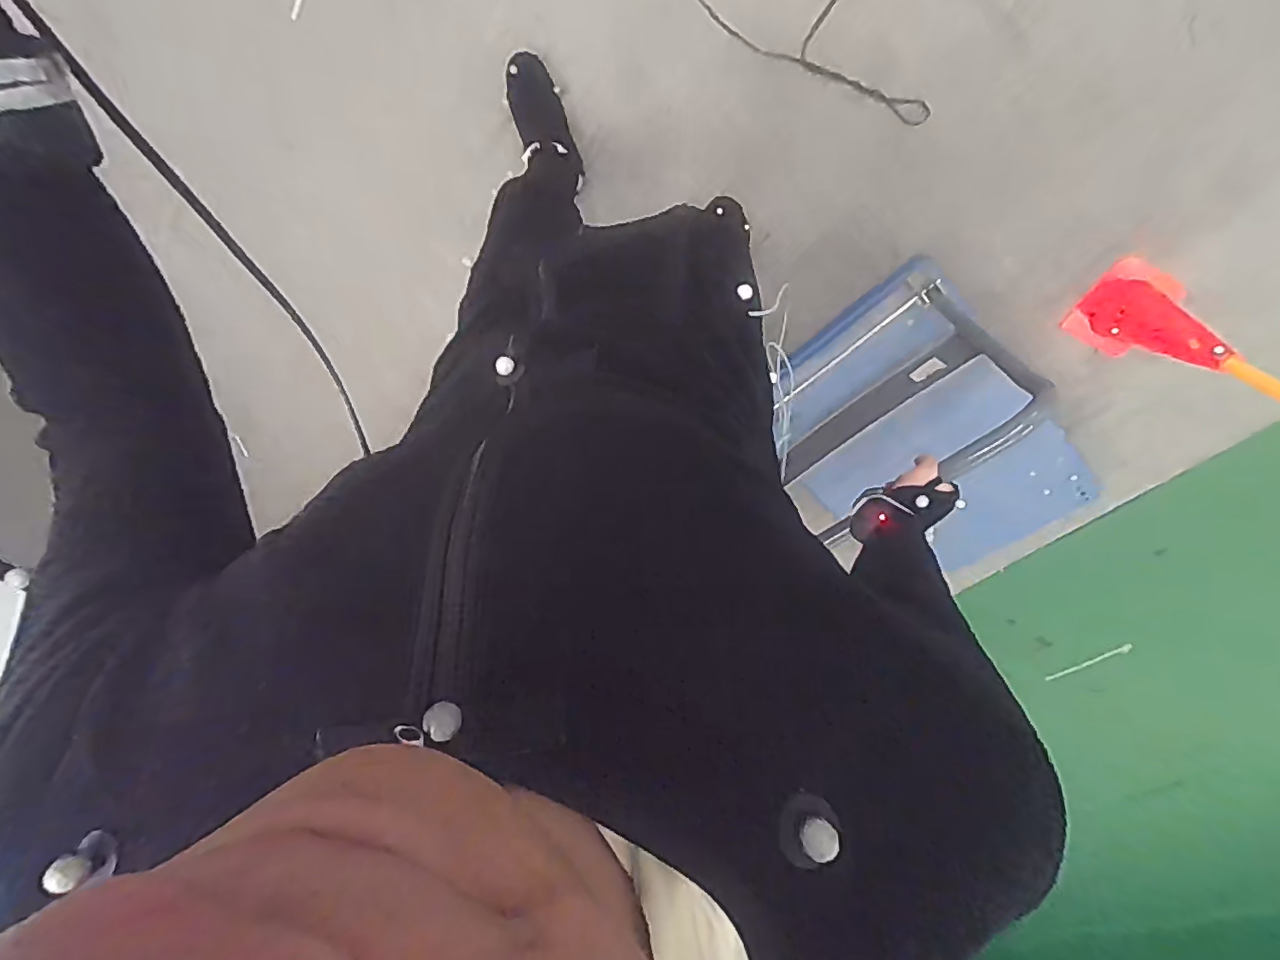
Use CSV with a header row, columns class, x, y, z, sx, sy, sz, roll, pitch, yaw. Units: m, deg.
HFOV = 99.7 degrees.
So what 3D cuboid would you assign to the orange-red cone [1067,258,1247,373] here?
class,x,y,z,sx,sy,sz,roll,pitch,yaw
orange-red cone,1.187,-0.327,1.202,0.198,0.360,0.199,24,124,-10
